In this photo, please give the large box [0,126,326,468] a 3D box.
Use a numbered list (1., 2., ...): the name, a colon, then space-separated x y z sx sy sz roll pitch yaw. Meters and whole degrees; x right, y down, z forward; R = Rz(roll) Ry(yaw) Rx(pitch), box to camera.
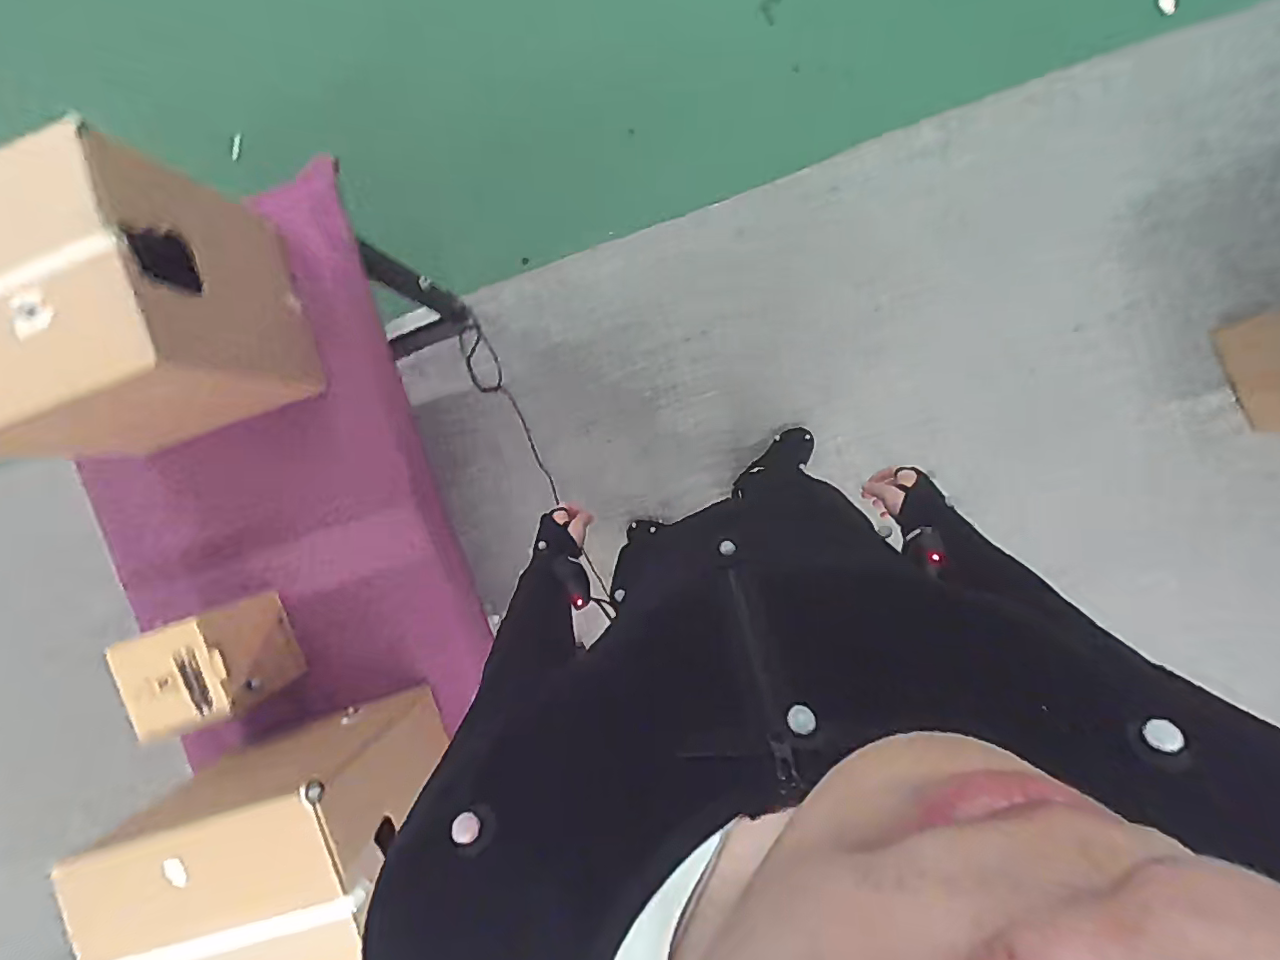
1. large box: -0.794 -0.226 0.819 0.408 0.320 0.320 -19 93 6
